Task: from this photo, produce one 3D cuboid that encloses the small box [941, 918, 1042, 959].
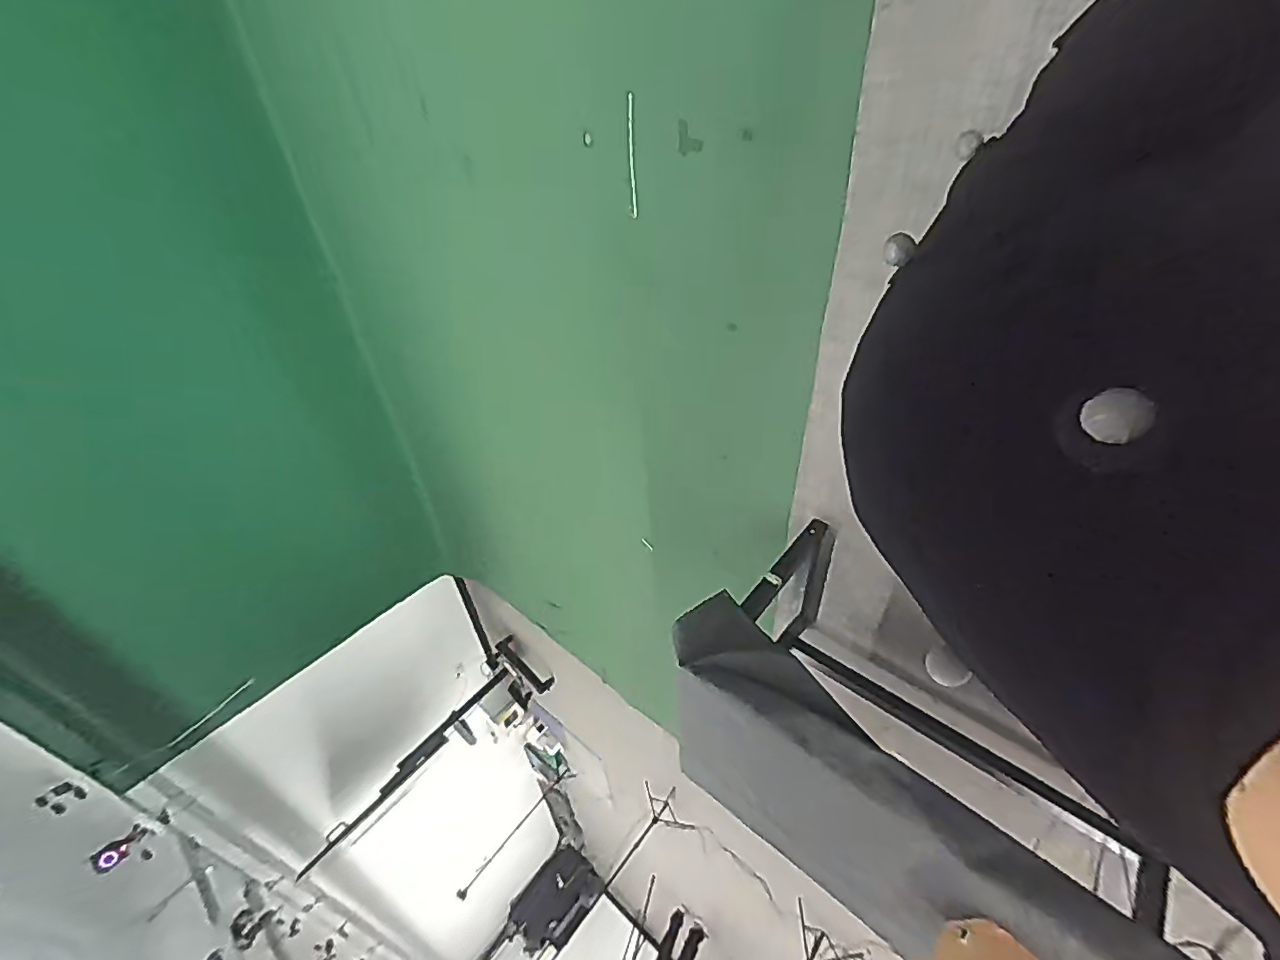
[{"bbox_3d":[0.699,0.995,1.036,0.179,0.176,0.168,37,142,23],"label":"small box"}]
